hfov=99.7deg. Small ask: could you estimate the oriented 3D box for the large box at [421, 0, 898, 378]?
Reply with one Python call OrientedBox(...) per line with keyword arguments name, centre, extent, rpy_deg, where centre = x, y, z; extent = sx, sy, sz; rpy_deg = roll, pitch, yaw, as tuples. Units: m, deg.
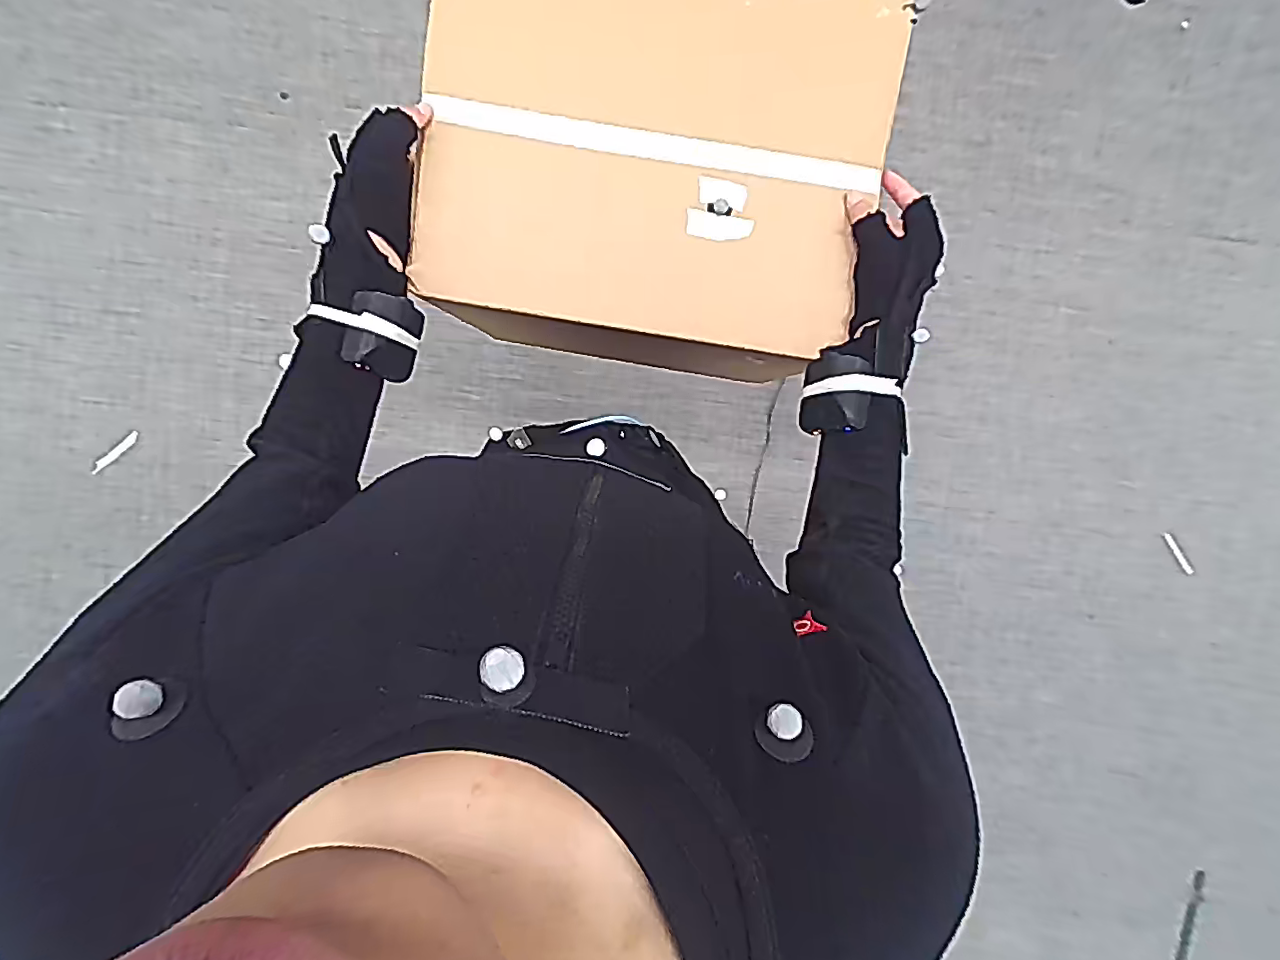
OrientedBox(name="large box", centre=(0.009, -0.312, 0.638), extent=(0.408, 0.320, 0.320), rpy_deg=(9, 97, -2))
